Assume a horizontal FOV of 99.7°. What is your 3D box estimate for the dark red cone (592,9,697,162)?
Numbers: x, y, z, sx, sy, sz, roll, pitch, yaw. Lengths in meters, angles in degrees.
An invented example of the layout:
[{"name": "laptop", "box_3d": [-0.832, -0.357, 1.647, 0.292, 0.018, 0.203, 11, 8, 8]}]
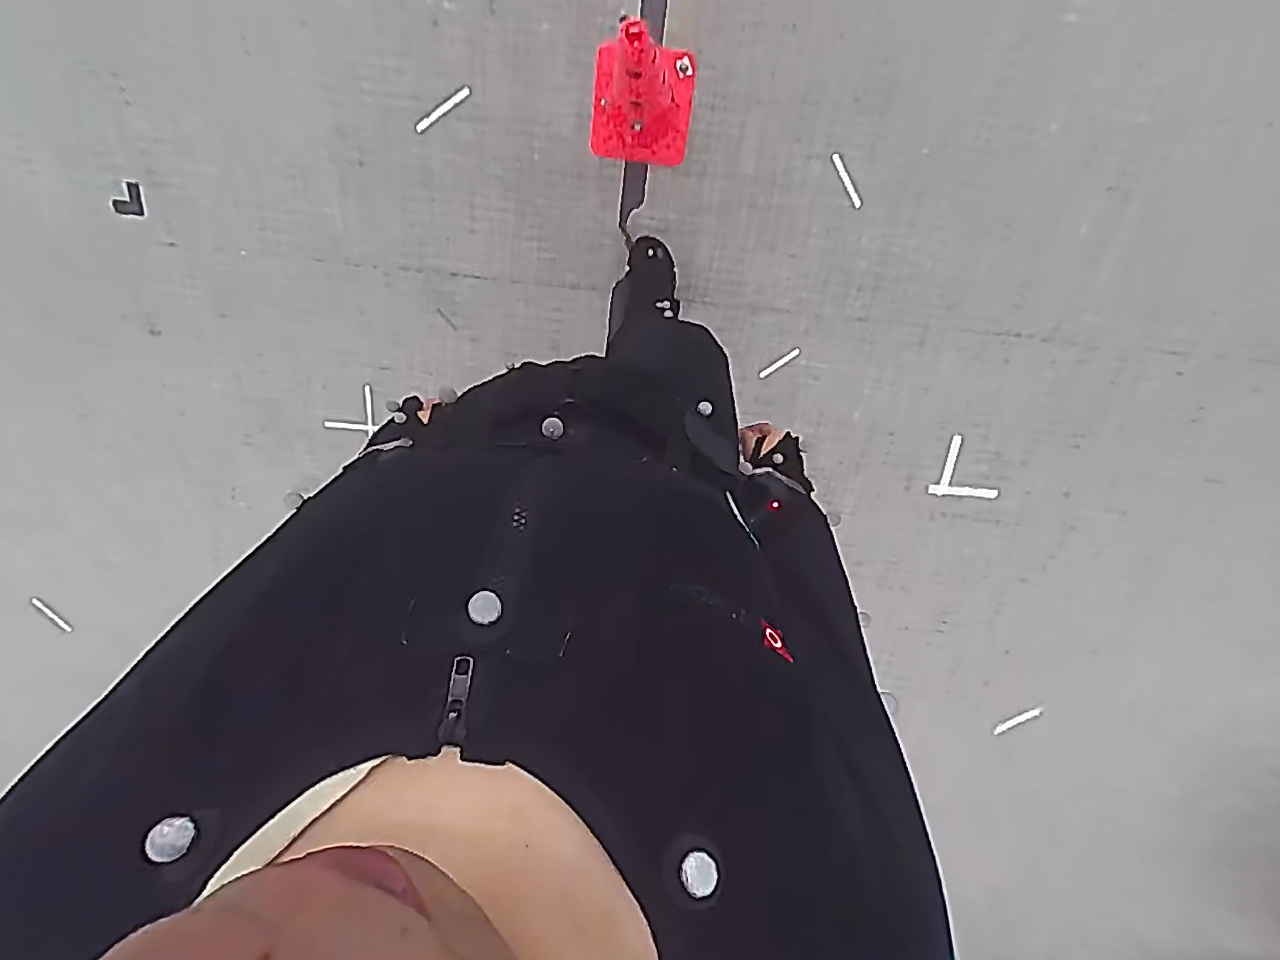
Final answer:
[{"name": "dark red cone", "box_3d": [-0.003, -0.694, 0.919, 0.201, 0.394, 0.202, 7, 111, 1]}]
